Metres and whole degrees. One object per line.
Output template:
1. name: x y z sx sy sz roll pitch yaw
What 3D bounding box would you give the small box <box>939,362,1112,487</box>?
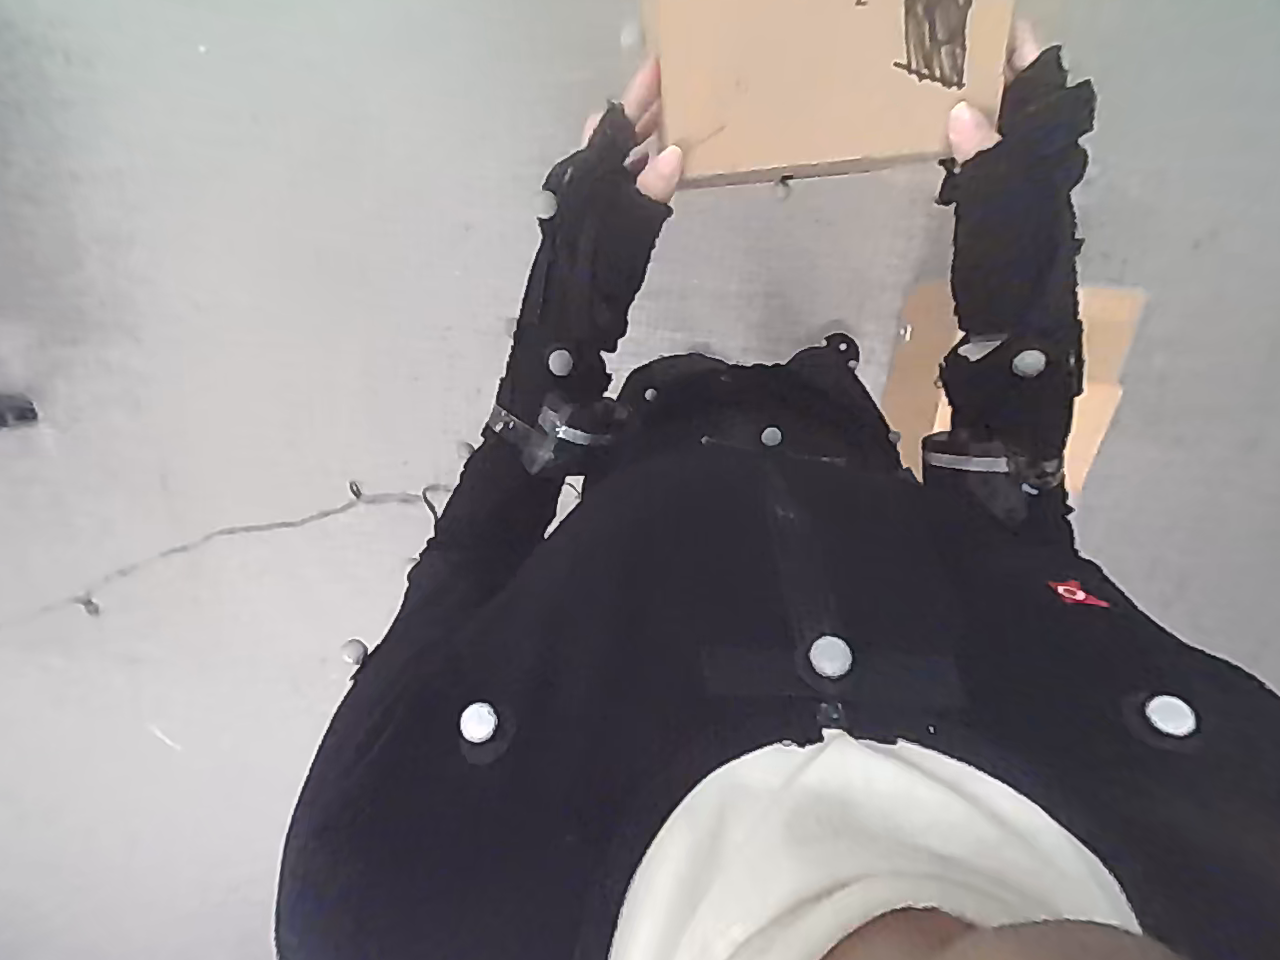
1. small box: 0.672 -0.109 0.971 0.168 0.176 0.179 13 108 3

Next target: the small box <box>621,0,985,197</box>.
1. small box: 0.080 -0.275 0.331 0.179 0.176 0.168 -6 116 2
